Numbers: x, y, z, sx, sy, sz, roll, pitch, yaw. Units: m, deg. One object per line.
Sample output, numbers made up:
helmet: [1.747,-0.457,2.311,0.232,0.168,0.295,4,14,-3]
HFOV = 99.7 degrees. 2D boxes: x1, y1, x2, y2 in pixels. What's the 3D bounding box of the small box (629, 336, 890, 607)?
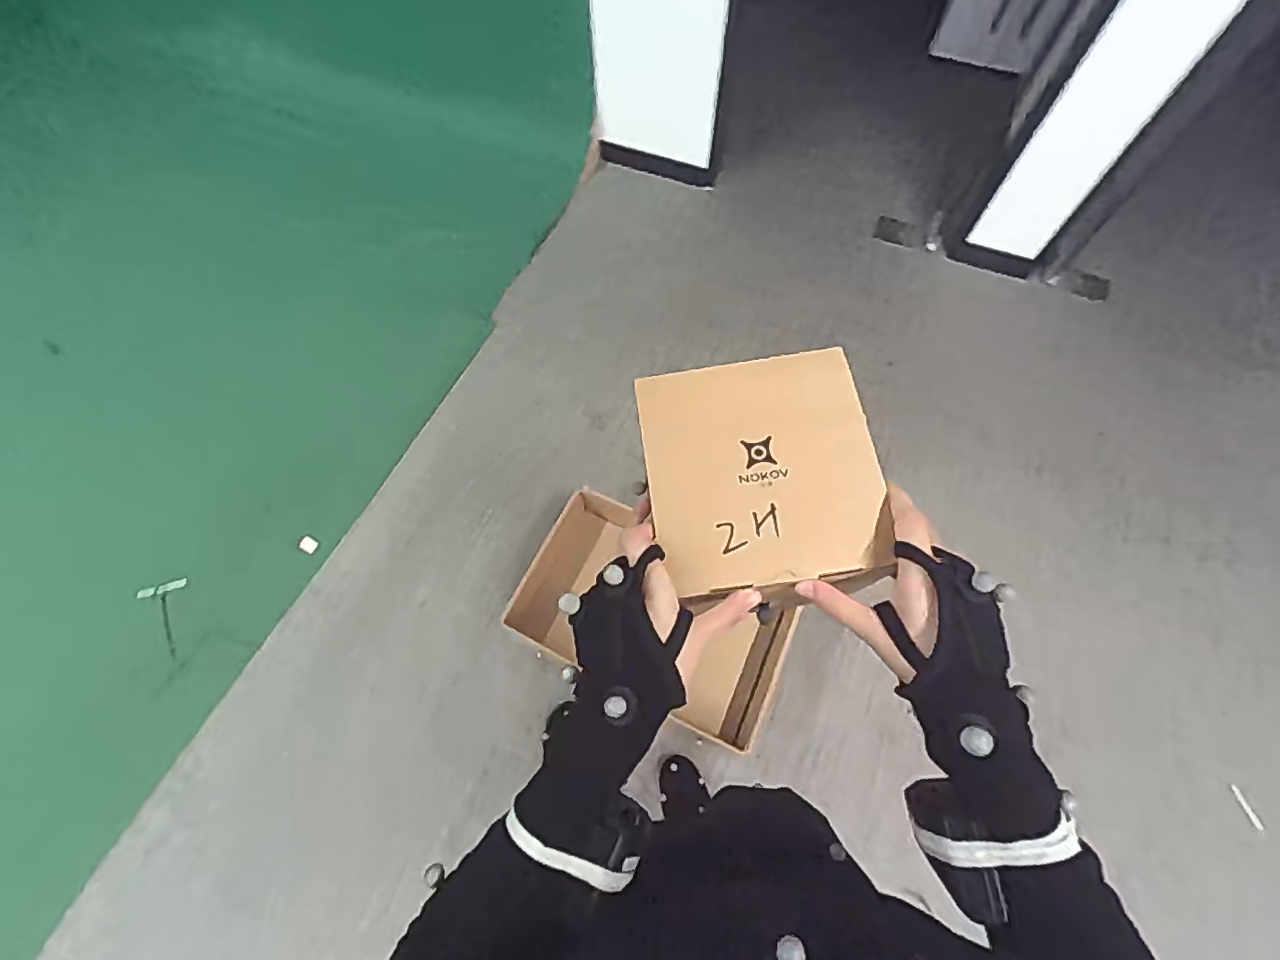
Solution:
small box: [0.087,0.005,0.472,0.168,0.176,0.179,-9,70,3]
